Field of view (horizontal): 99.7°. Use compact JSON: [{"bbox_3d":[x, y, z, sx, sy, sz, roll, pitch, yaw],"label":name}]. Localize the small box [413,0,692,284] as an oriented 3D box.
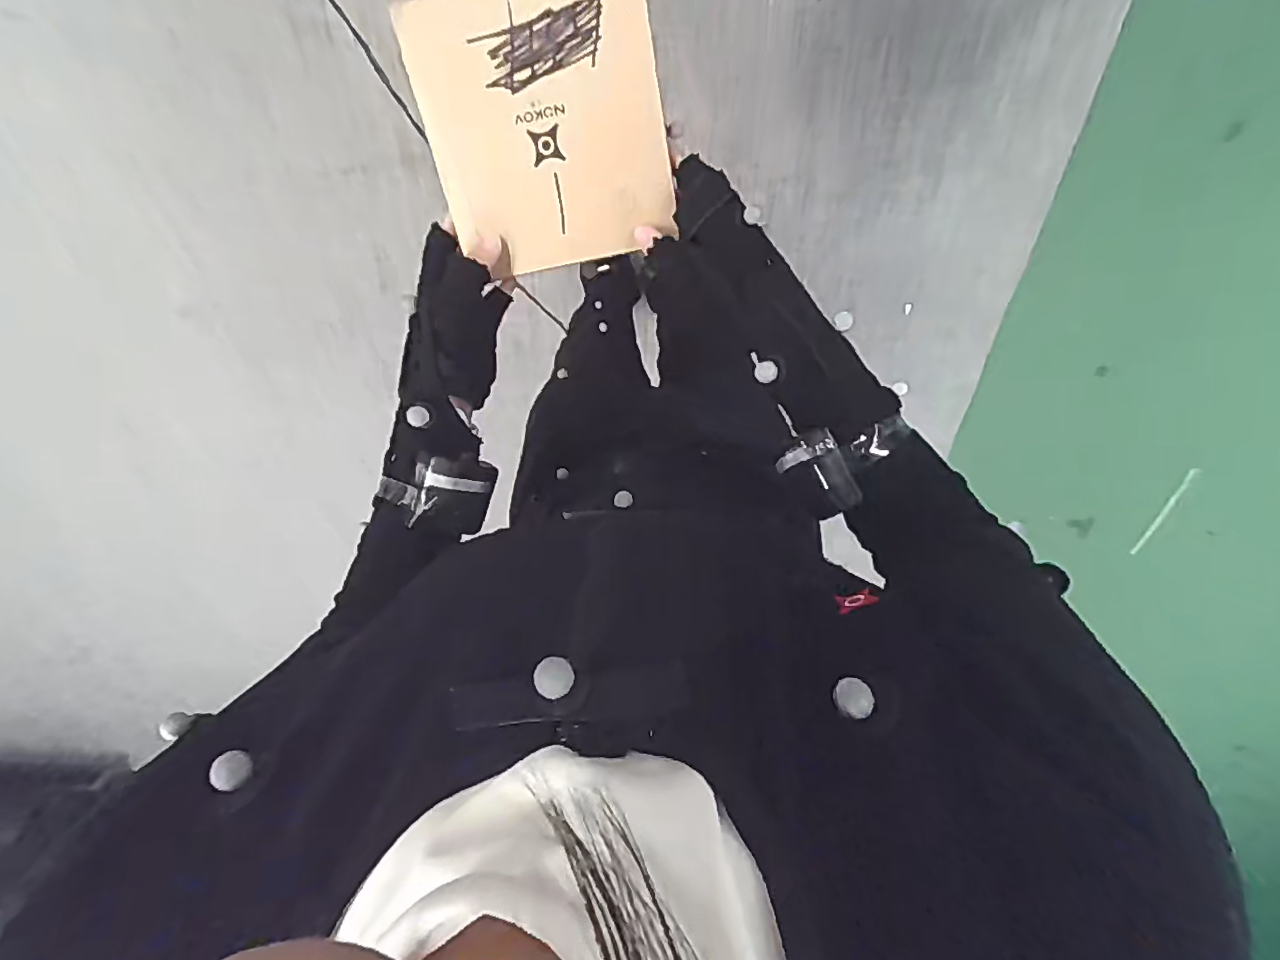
[{"bbox_3d":[-0.053,-0.272,0.453,0.168,0.176,0.179,-9,113,7],"label":"small box"}]
